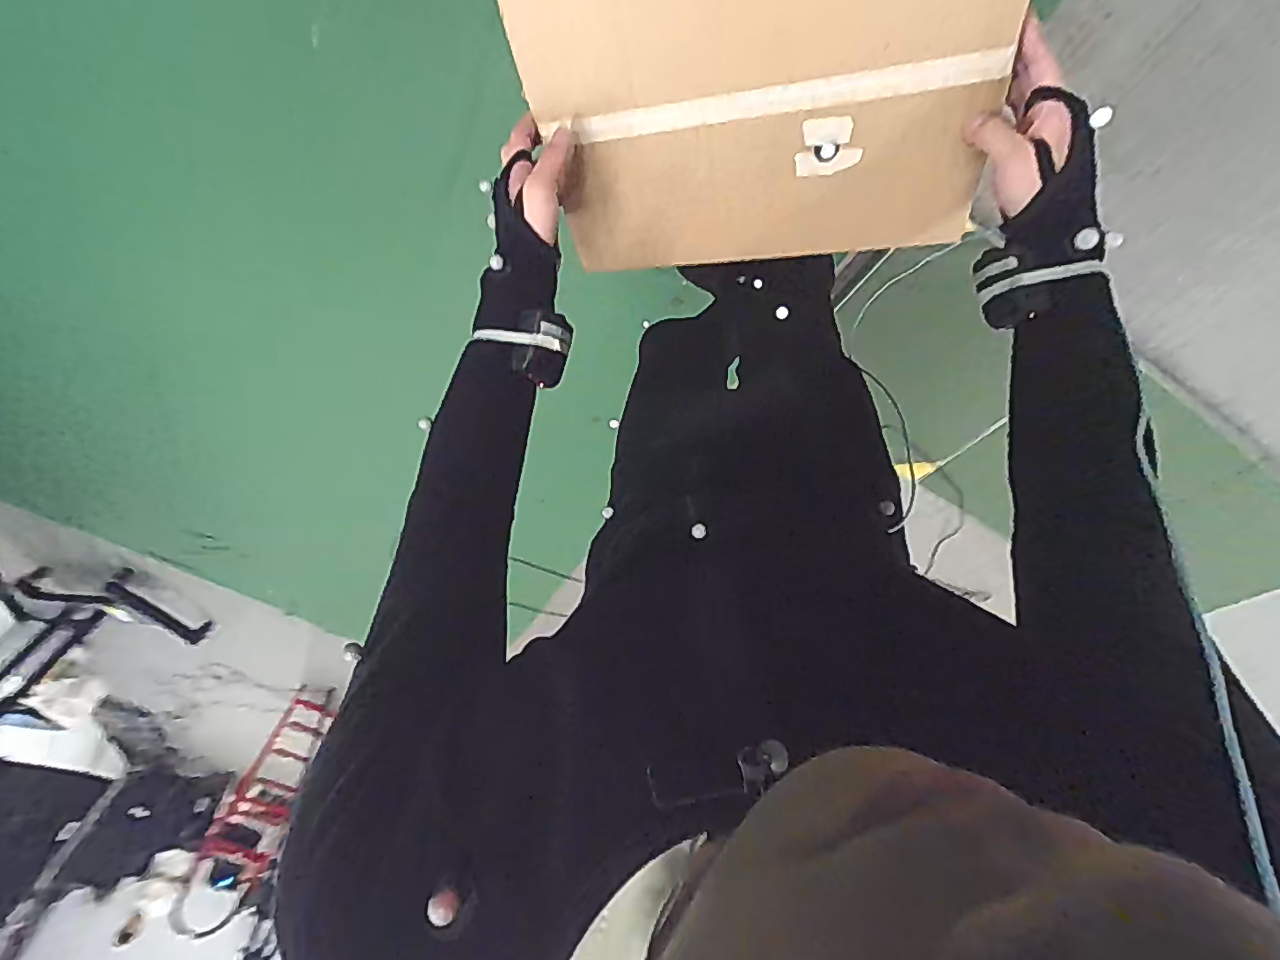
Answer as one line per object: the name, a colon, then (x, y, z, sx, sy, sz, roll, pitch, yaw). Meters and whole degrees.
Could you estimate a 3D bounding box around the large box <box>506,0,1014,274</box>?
large box: (0.120, -0.460, 0.577, 0.408, 0.320, 0.320, 1, 145, 14)
